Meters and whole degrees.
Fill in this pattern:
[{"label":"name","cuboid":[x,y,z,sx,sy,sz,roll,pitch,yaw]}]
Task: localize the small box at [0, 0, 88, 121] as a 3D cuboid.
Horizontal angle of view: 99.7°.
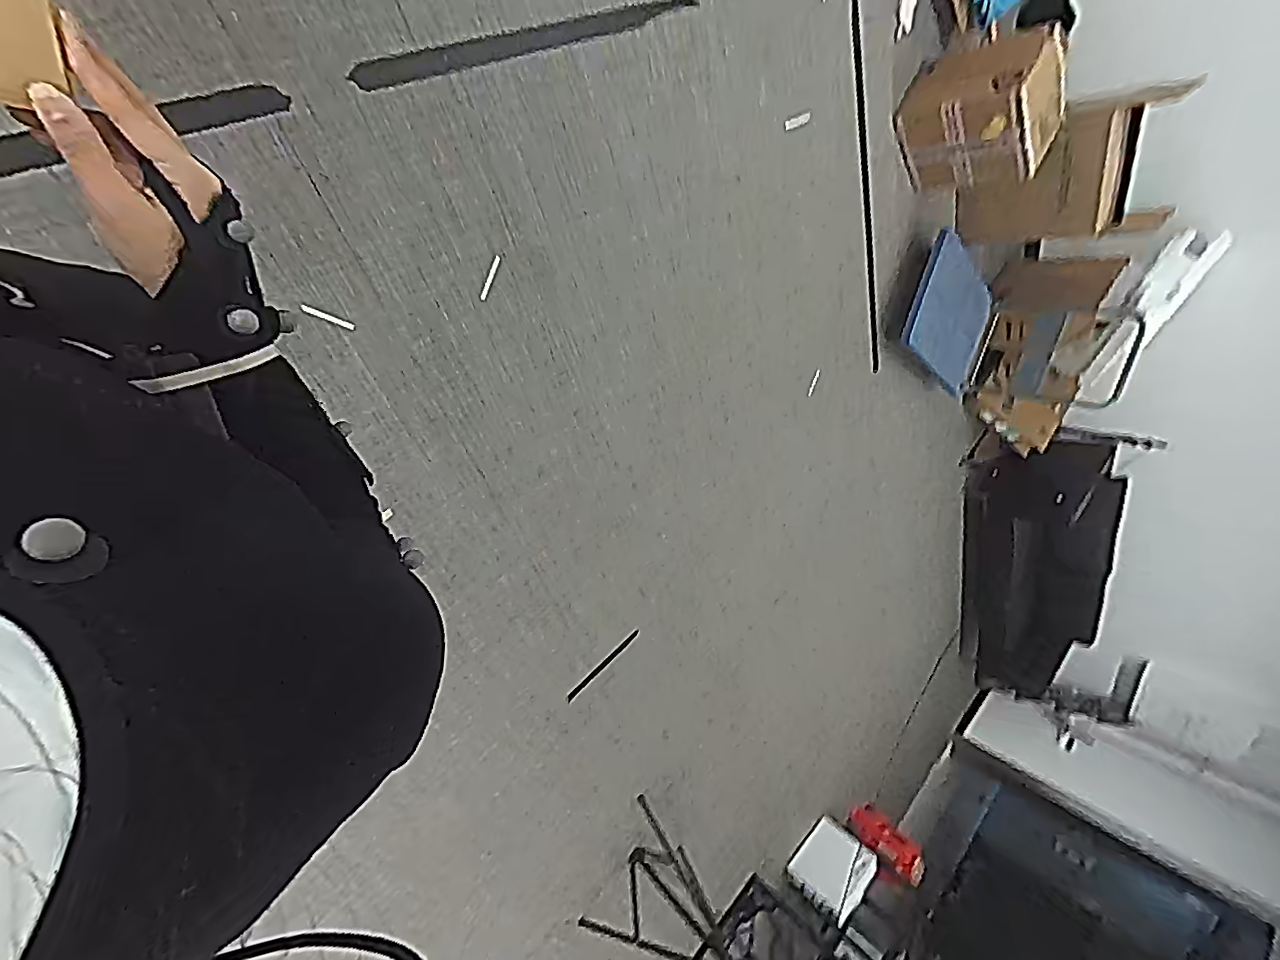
[{"label":"small box","cuboid":[-0.373,-0.285,0.228,0.179,0.176,0.168,-9,131,-40]}]
